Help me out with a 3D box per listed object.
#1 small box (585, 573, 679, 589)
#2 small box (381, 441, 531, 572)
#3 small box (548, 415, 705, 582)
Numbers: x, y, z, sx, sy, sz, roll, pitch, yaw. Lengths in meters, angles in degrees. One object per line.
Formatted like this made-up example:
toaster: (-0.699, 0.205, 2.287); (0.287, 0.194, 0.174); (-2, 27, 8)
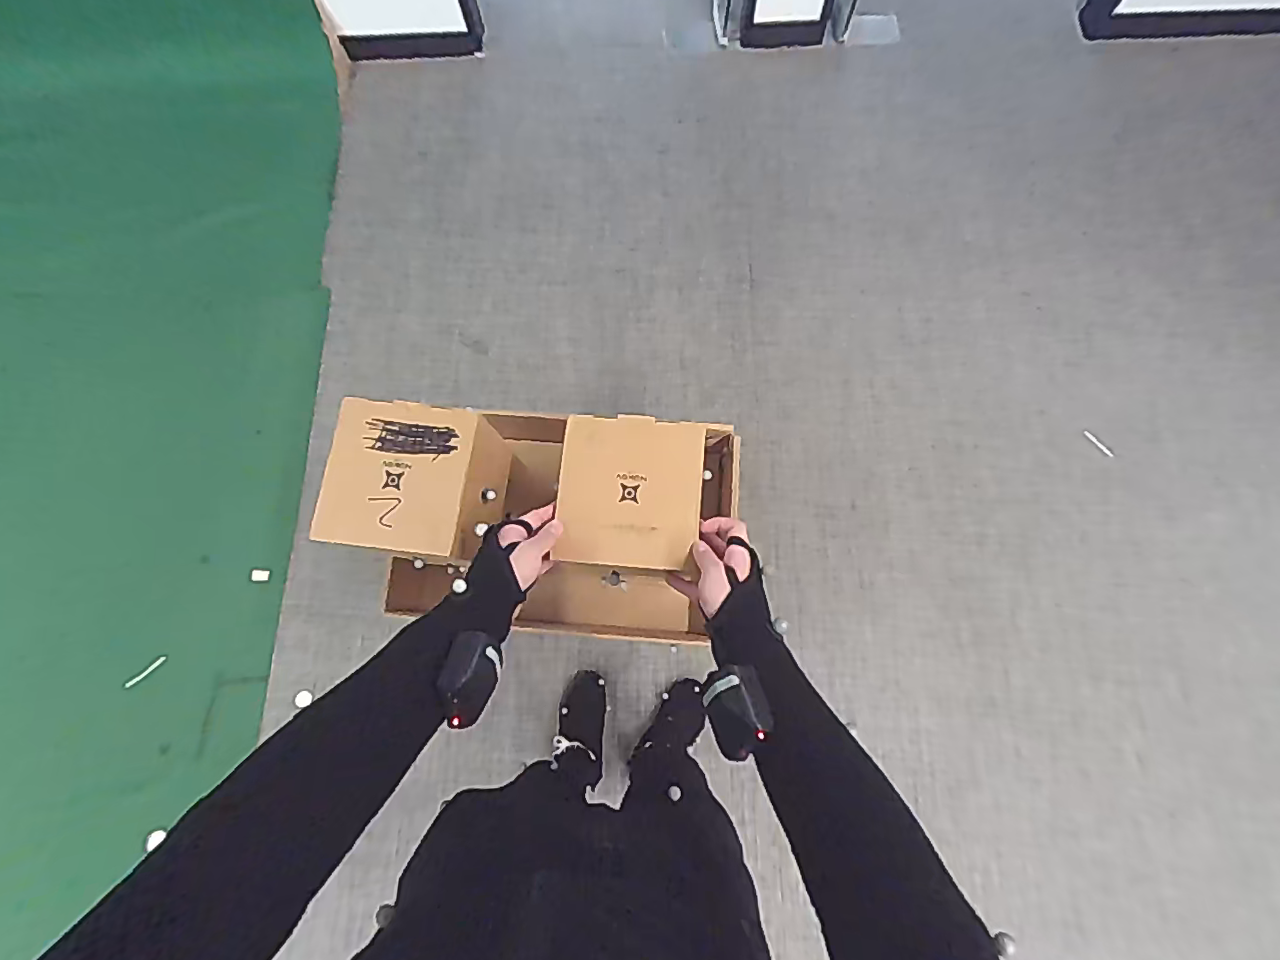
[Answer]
small box: (-0.001, 0.108, 1.012); (0.168, 0.176, 0.179); (5, 76, 3)
small box: (-0.280, 0.051, 0.864); (0.168, 0.176, 0.179); (6, 77, 2)
small box: (-0.011, 0.032, 0.694); (0.168, 0.176, 0.179); (5, 77, 4)
